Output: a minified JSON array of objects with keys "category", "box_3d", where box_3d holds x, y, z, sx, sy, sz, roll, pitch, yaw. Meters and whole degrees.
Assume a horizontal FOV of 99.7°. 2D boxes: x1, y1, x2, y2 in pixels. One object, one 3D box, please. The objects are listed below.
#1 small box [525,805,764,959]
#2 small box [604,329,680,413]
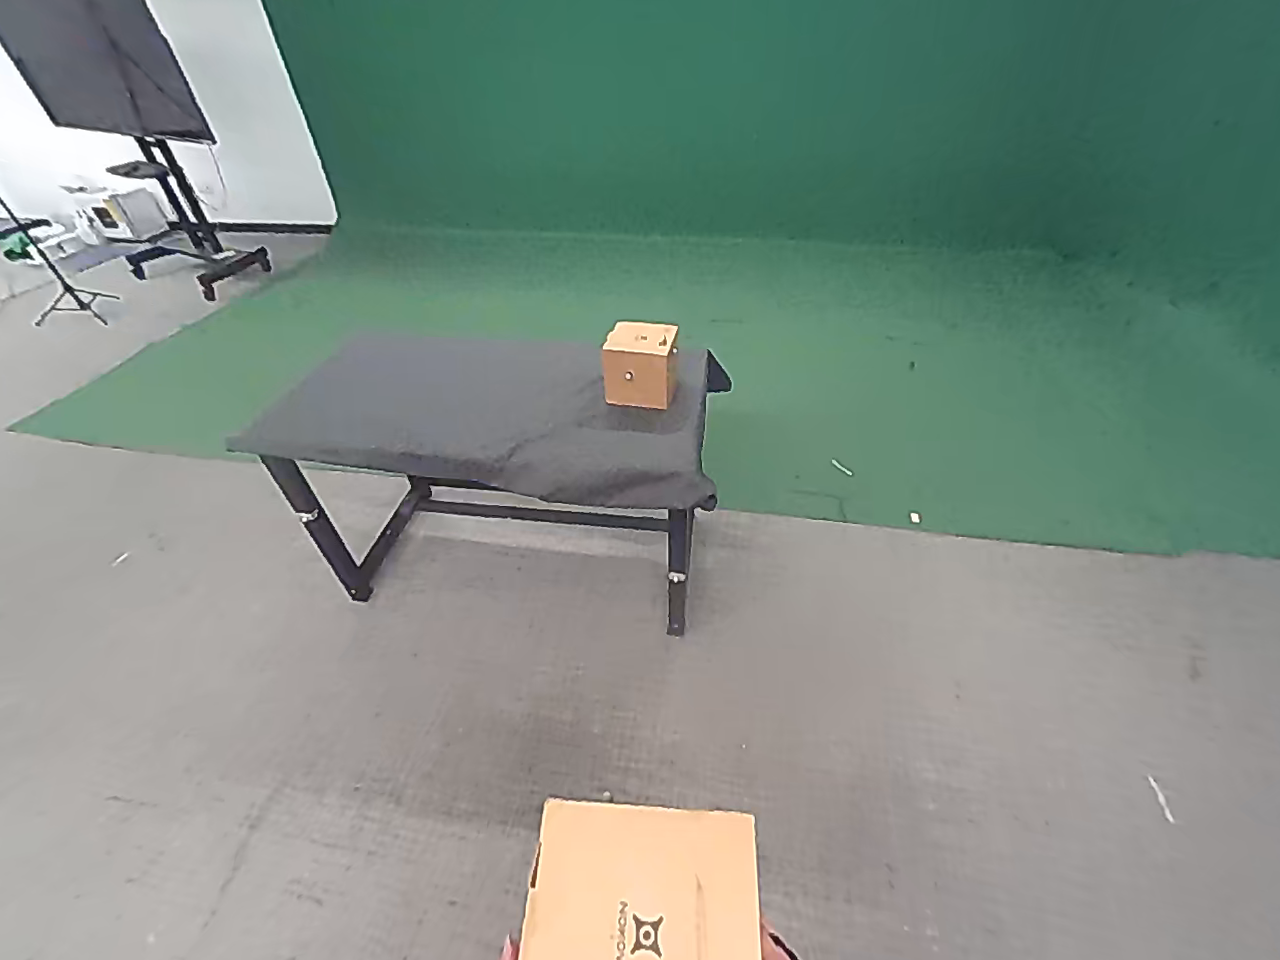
[{"category":"small box","box_3d":[0.008,0.385,0.460,0.179,0.176,0.168,0,54,4]},{"category":"small box","box_3d":[0.011,-0.300,1.495,0.179,0.176,0.168,7,43,12]}]
